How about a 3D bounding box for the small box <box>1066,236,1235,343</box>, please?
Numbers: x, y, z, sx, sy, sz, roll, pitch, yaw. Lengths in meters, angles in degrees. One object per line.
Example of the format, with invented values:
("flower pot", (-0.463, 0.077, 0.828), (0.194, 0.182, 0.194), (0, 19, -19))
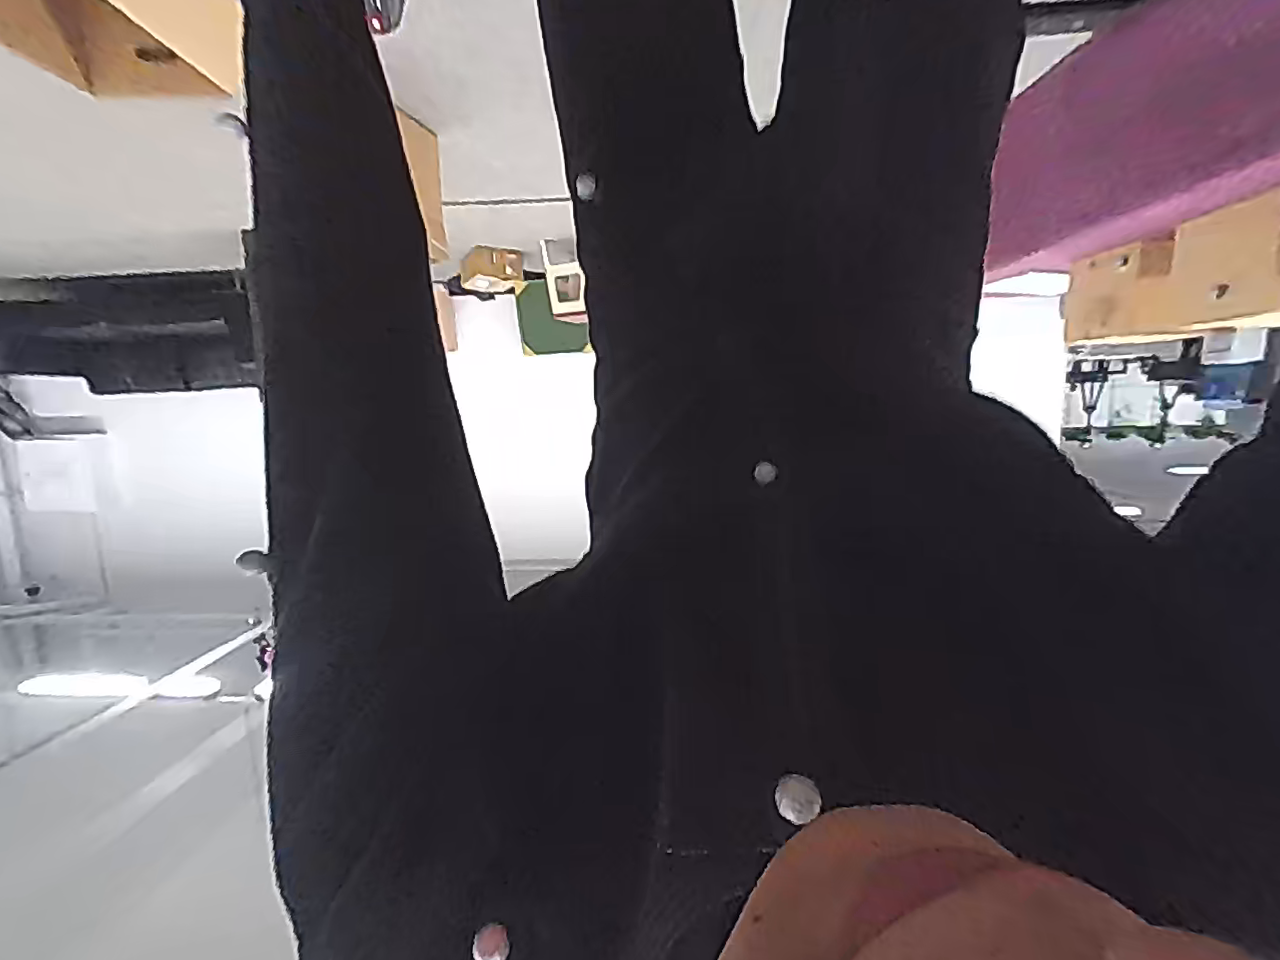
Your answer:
("small box", (0.980, -0.362, 1.049), (0.179, 0.176, 0.168), (-2, -171, 0))
